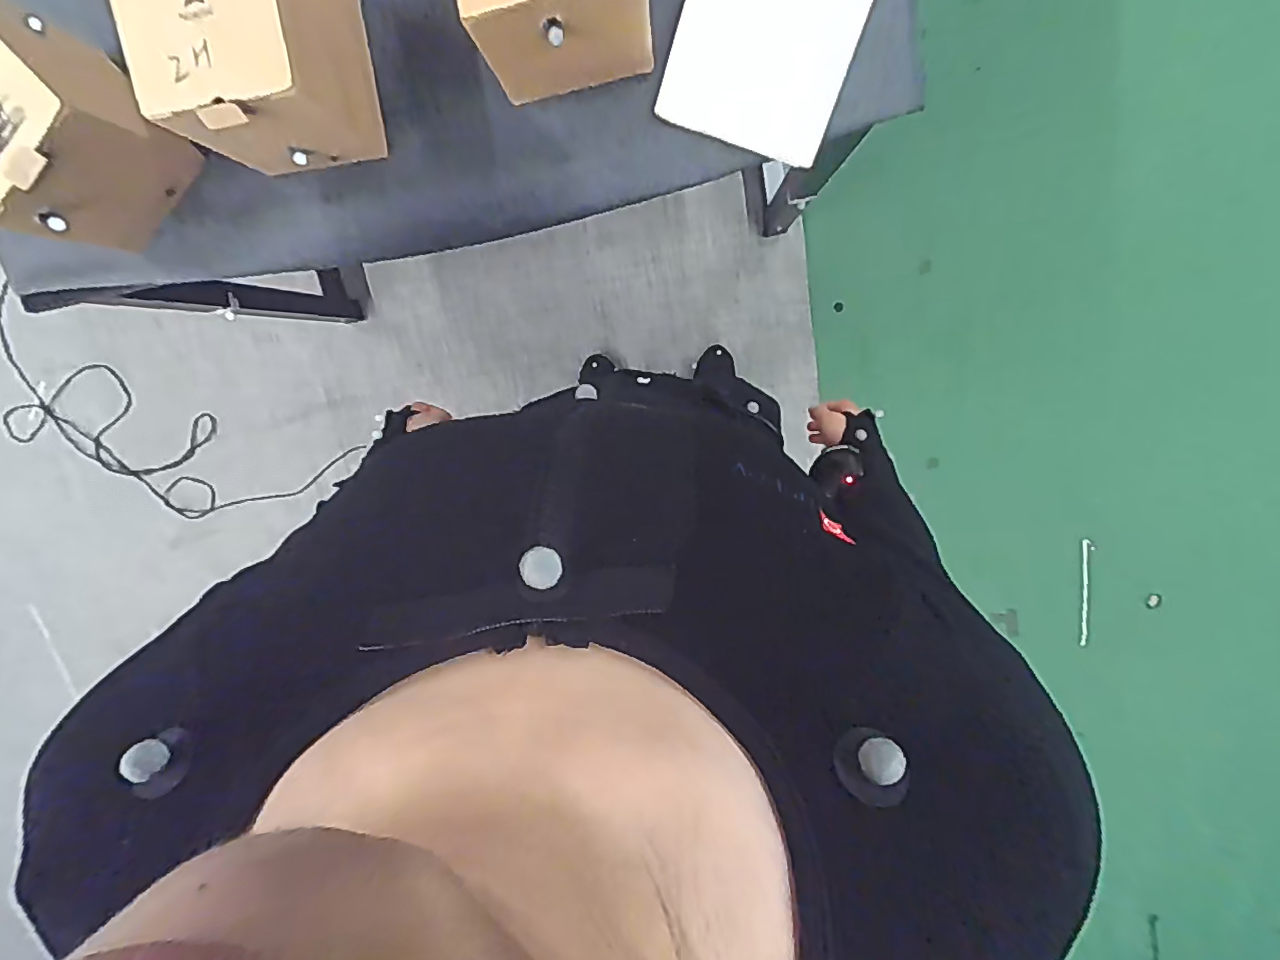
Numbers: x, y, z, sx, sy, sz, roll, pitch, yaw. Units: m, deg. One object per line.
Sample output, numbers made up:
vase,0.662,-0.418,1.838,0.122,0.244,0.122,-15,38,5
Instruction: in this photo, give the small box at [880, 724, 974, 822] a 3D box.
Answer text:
small box,0.782,0.796,1.483,0.179,0.176,0.168,-10,103,7

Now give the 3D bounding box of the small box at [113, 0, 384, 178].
small box,-0.411,-0.461,0.589,0.168,0.176,0.179,-6,102,7

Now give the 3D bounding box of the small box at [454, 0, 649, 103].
small box,-0.089,-0.525,0.549,0.179,0.176,0.168,-9,101,8
